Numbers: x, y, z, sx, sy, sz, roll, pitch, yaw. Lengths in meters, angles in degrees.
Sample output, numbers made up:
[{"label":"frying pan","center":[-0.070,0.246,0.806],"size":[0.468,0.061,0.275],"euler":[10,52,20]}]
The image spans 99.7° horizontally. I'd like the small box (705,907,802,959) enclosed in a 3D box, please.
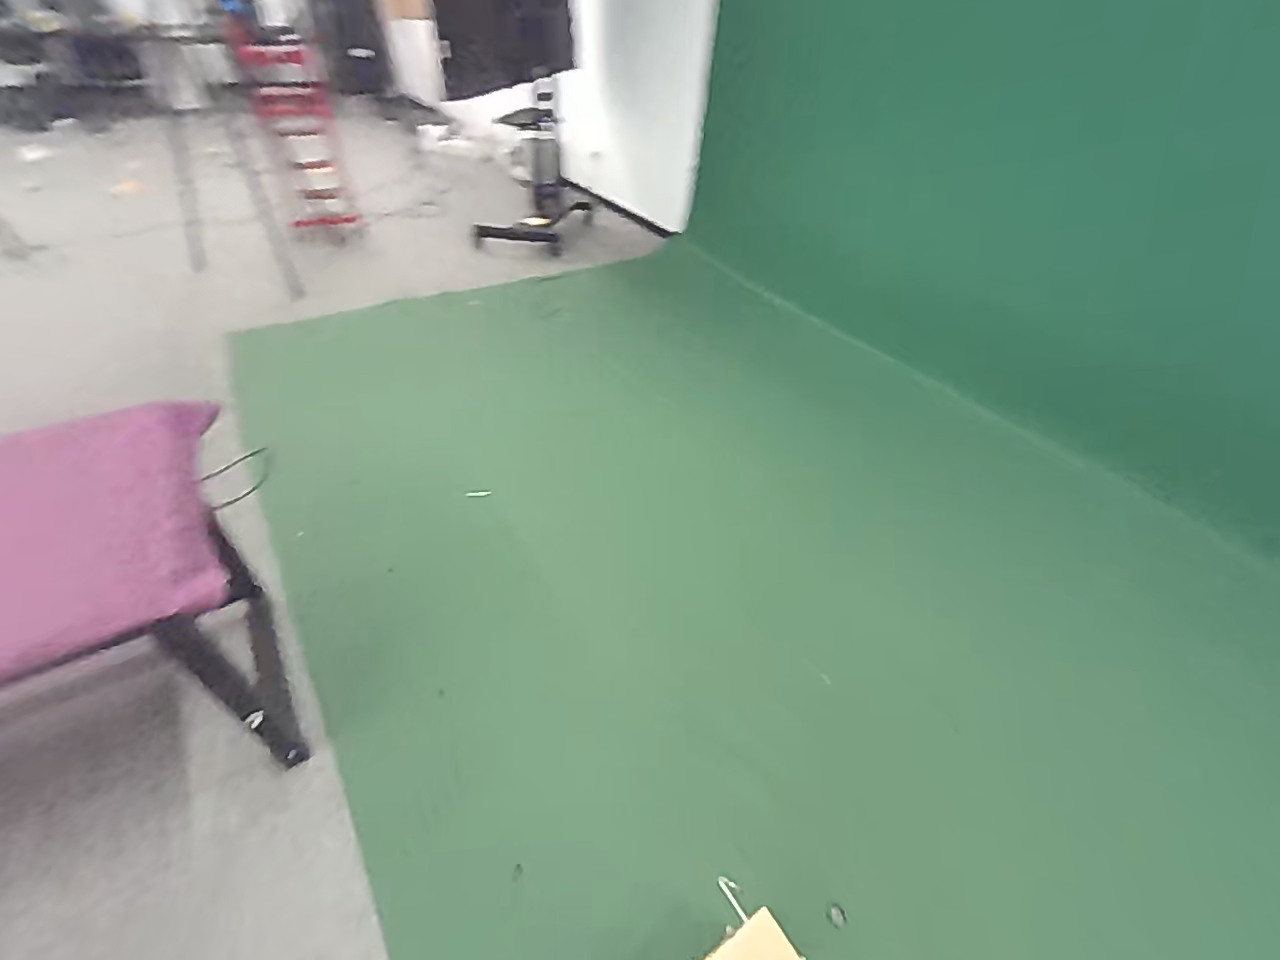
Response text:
[{"label":"small box","center":[0.195,0.881,0.914],"size":[0.168,0.176,0.179],"euler":[-23,50,-26]}]
